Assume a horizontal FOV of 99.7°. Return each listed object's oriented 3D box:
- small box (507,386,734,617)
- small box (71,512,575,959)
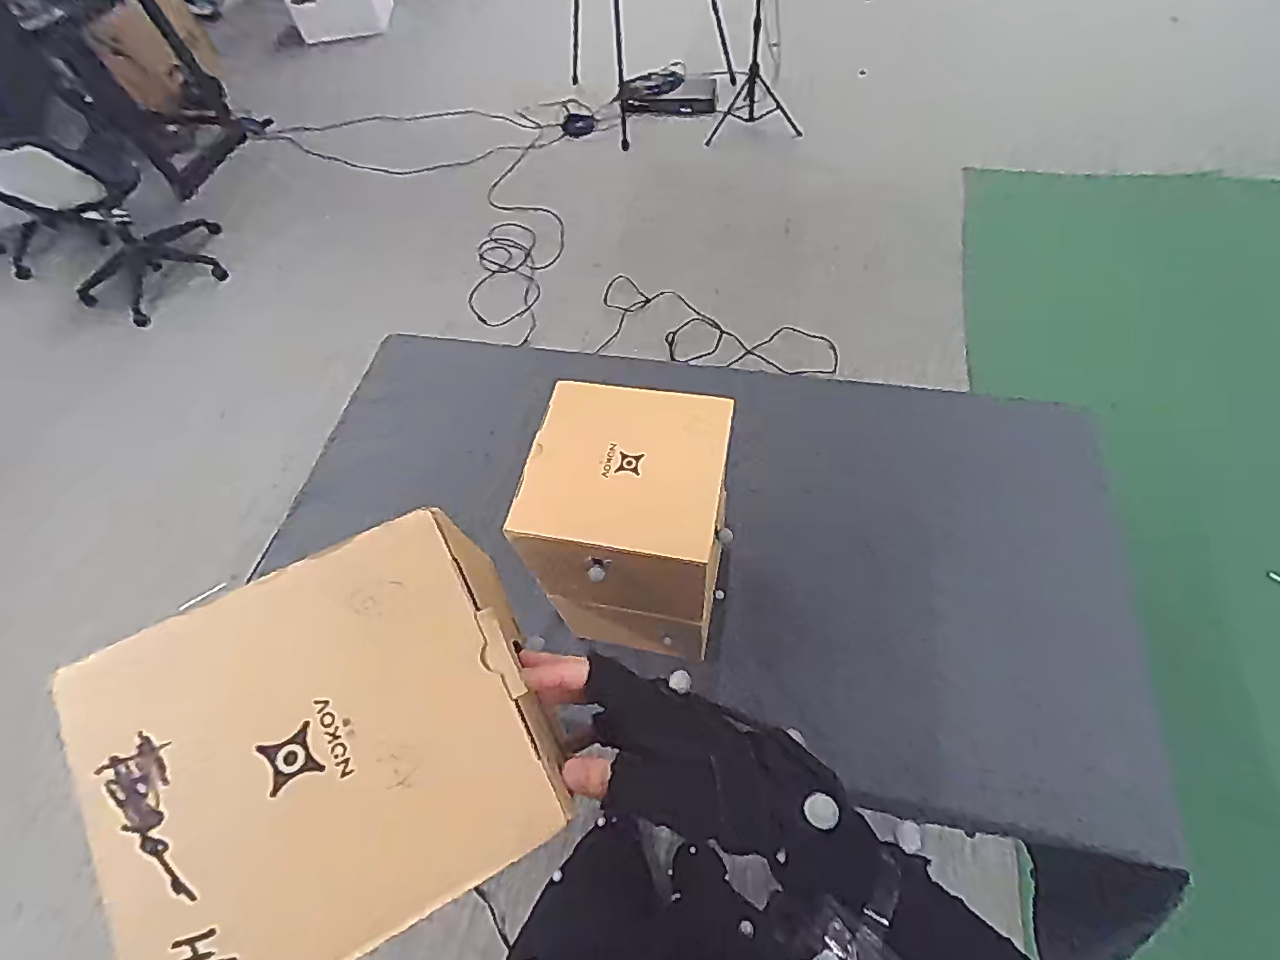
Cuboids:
[{"bbox_3d":[-0.006,0.029,0.548,0.179,0.176,0.168,7,60,11],"label":"small box"},{"bbox_3d":[-0.151,0.141,0.318,0.179,0.176,0.168,-24,76,-14],"label":"small box"}]
